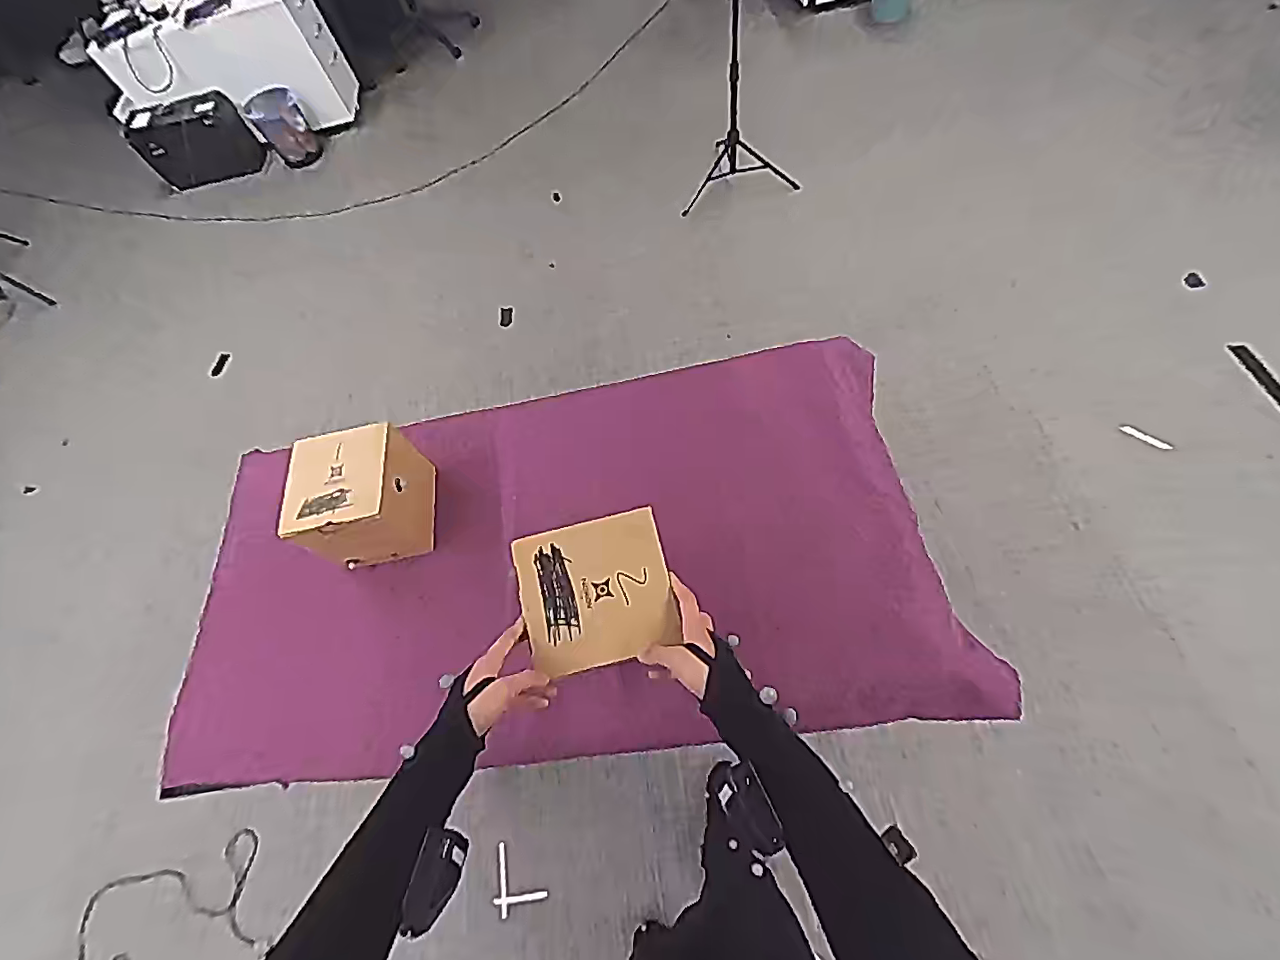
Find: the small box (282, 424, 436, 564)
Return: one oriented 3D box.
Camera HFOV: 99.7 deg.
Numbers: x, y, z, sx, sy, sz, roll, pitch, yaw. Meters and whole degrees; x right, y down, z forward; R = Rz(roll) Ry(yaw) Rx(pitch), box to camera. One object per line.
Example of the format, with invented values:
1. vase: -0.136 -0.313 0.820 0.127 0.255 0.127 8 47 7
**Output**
1. small box: -0.467 0.034 0.928 0.168 0.176 0.179 -11 62 3
